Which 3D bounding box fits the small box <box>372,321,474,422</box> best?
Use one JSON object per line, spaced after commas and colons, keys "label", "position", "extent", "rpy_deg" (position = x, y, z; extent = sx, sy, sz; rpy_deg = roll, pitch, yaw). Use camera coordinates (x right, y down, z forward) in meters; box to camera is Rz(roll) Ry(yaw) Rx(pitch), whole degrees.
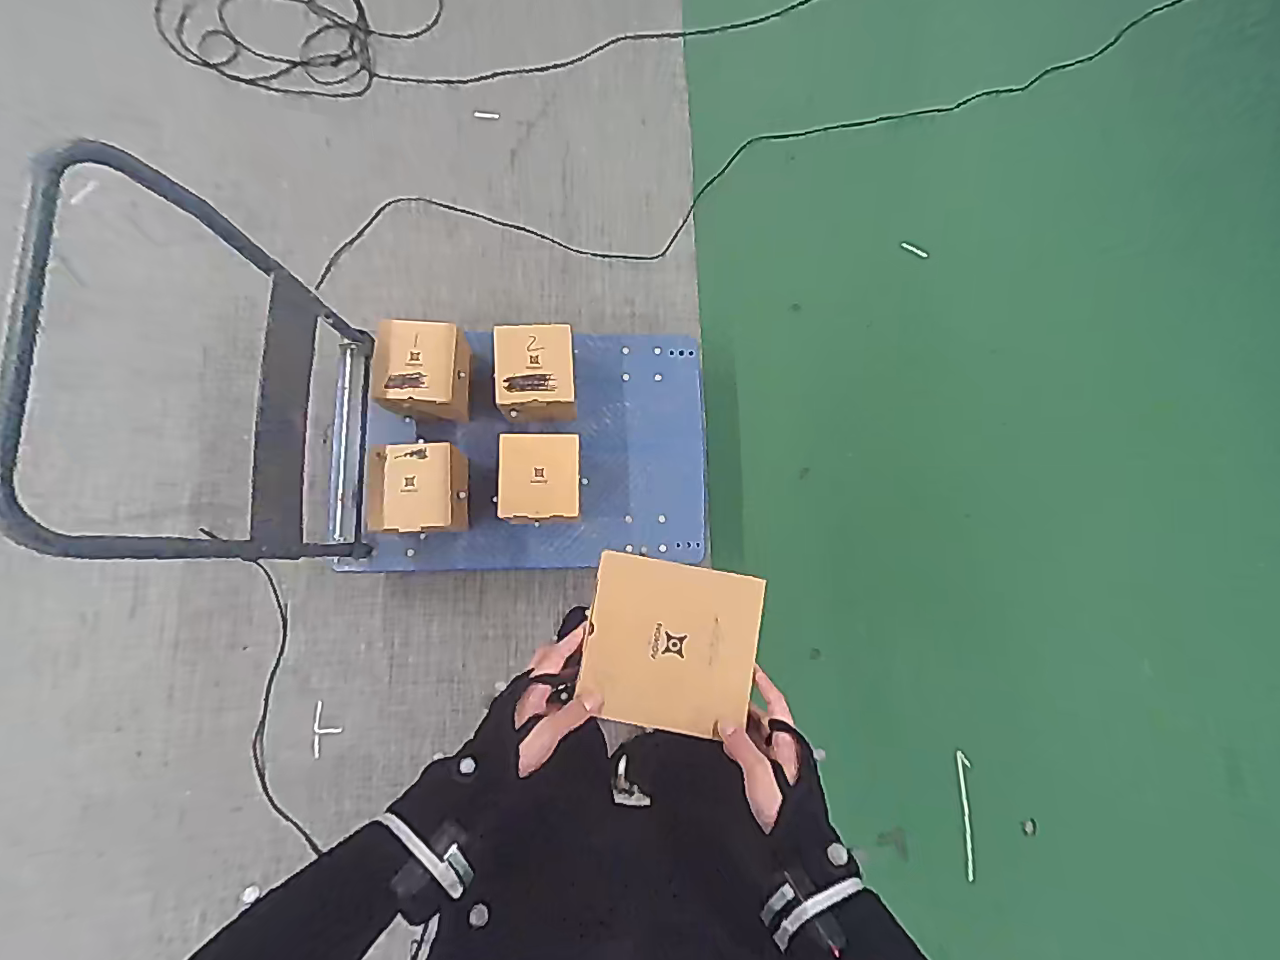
{"label": "small box", "position": [-0.473, -0.233, 1.203], "extent": [0.168, 0.176, 0.179], "rpy_deg": [2, 81, -5]}

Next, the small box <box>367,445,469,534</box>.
{"label": "small box", "position": [-0.469, 0.027, 1.164], "extent": [0.168, 0.176, 0.179], "rpy_deg": [-2, 82, -5]}
